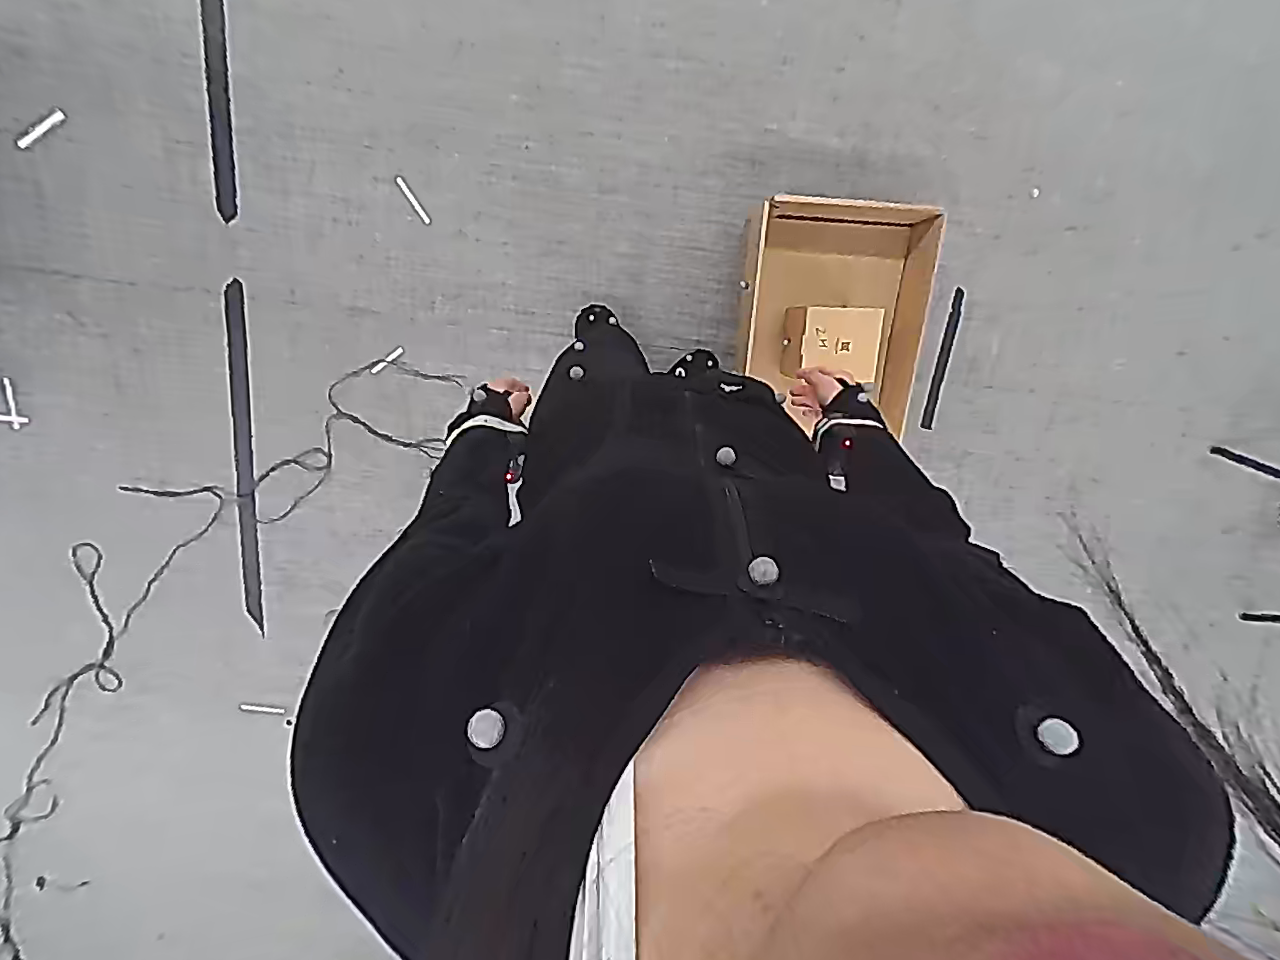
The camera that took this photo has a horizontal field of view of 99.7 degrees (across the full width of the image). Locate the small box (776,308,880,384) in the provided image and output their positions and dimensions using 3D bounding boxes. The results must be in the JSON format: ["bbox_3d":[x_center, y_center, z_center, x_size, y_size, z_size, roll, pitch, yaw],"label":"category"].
[{"bbox_3d":[0.441,-0.323,1.293,0.179,0.176,0.168,1,106,-1],"label":"small box"}]
